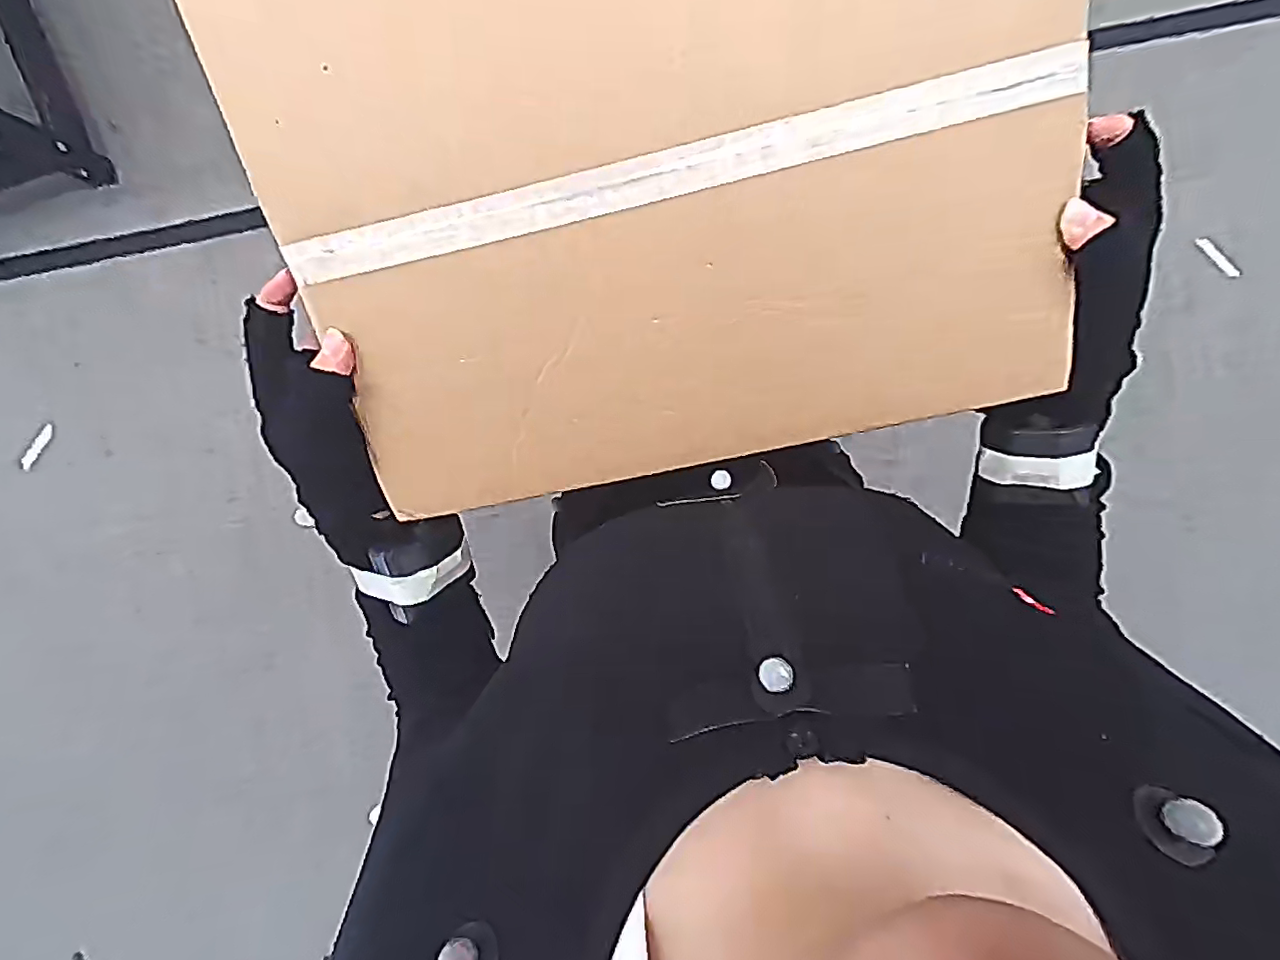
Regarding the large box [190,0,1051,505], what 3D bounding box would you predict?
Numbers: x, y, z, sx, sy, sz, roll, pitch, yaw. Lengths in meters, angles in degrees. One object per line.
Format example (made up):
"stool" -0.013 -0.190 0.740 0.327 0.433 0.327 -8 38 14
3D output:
"large box" 0.007 -0.217 0.421 0.408 0.320 0.320 -11 111 5
